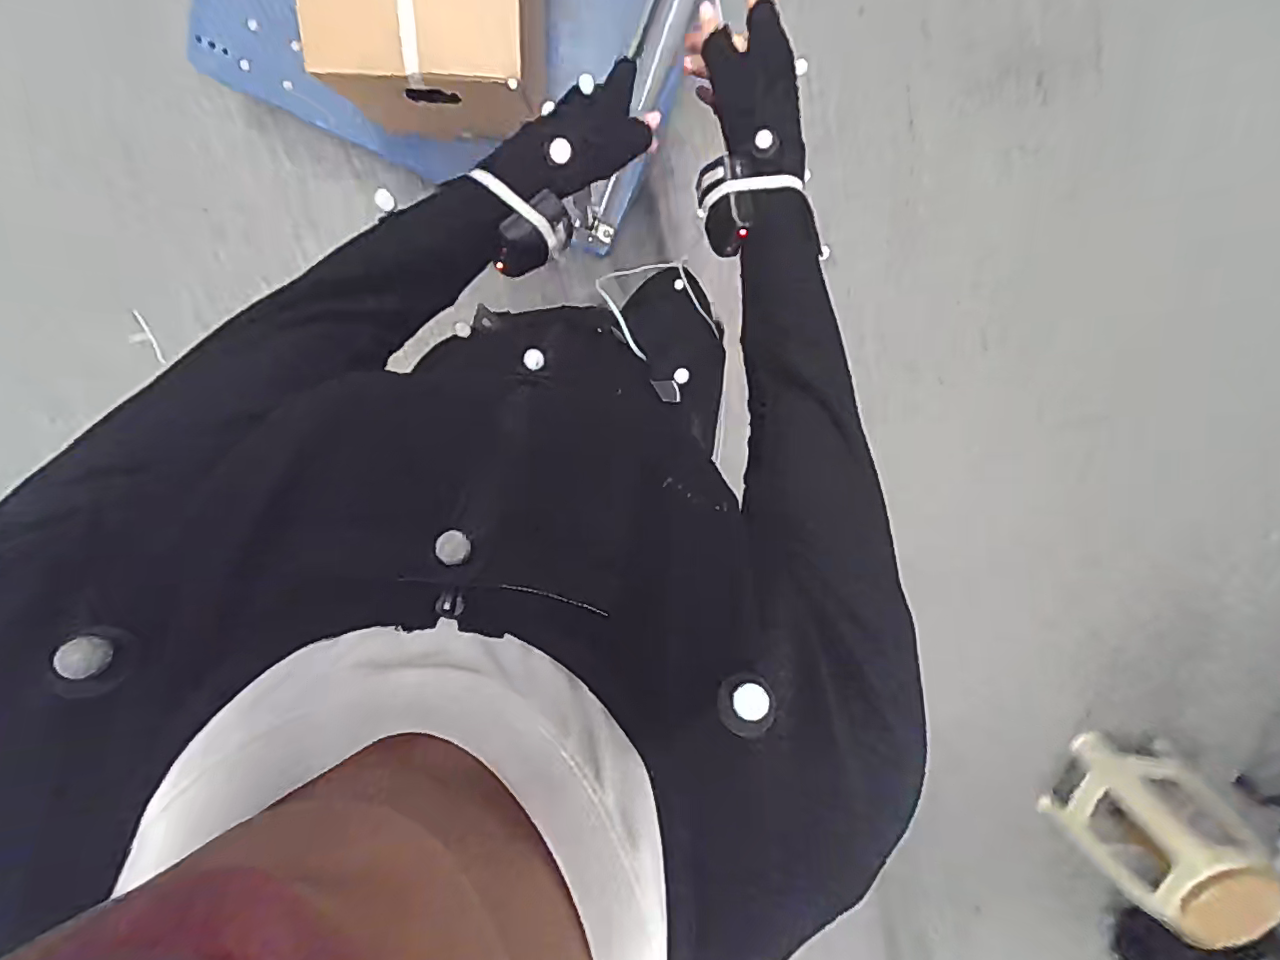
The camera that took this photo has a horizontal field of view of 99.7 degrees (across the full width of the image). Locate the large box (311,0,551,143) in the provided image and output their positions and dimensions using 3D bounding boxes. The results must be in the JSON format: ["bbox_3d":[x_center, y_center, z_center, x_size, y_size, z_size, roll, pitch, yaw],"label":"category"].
[{"bbox_3d":[-0.320,-0.824,0.884,0.320,0.320,0.408,1,109,-2],"label":"large box"}]
